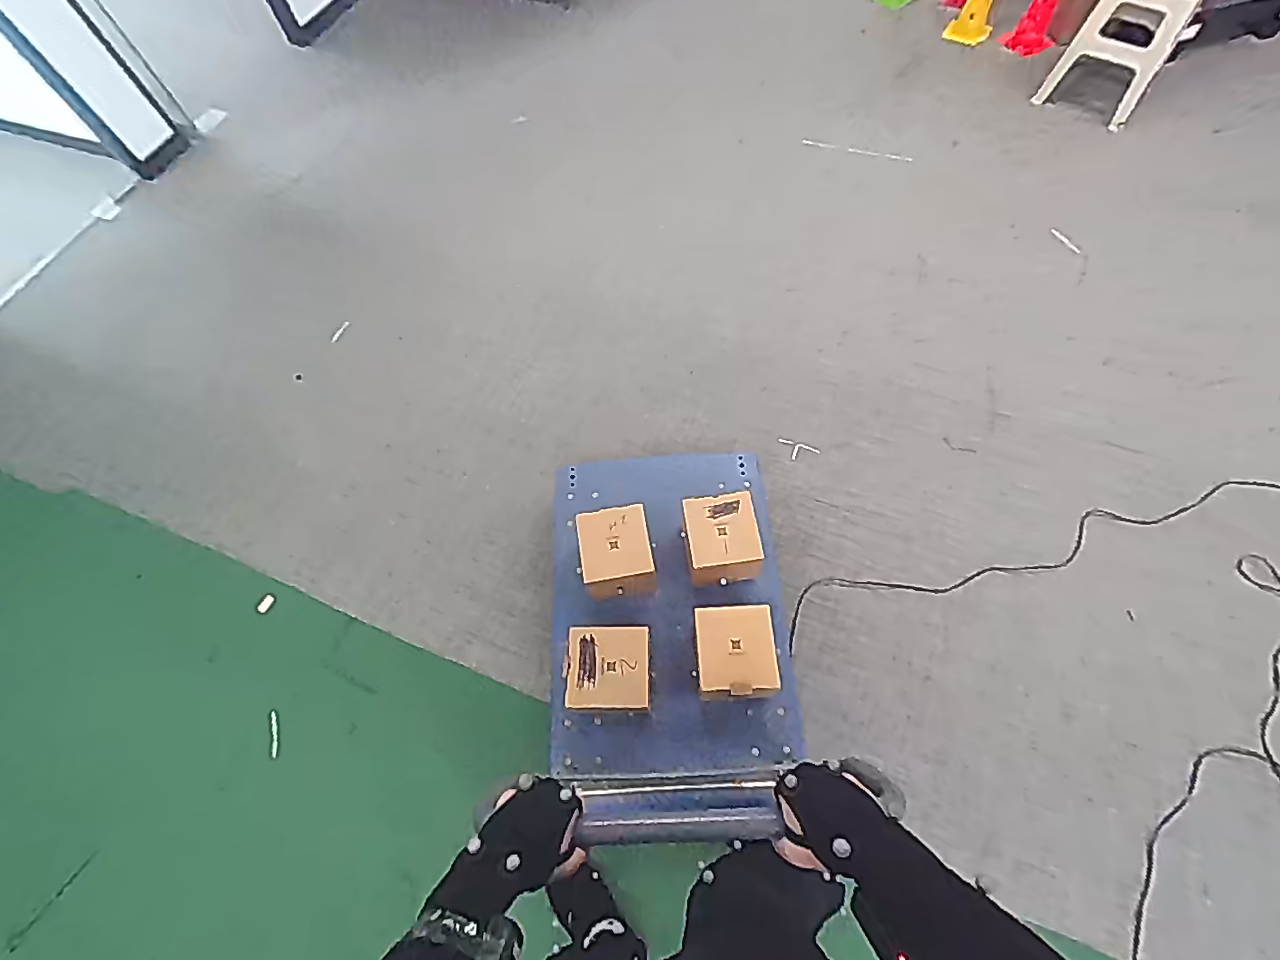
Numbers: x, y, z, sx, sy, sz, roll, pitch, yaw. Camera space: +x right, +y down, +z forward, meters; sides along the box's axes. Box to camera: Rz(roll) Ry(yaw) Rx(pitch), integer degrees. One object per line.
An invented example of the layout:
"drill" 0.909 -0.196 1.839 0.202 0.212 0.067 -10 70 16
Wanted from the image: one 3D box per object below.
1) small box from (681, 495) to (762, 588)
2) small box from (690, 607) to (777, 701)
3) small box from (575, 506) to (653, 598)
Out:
"small box" 0.193 0.155 1.340 0.168 0.176 0.179 -7 64 0
"small box" 0.203 0.396 1.220 0.168 0.176 0.179 -3 64 2
"small box" -0.061 0.185 1.338 0.168 0.176 0.179 -9 63 -2
